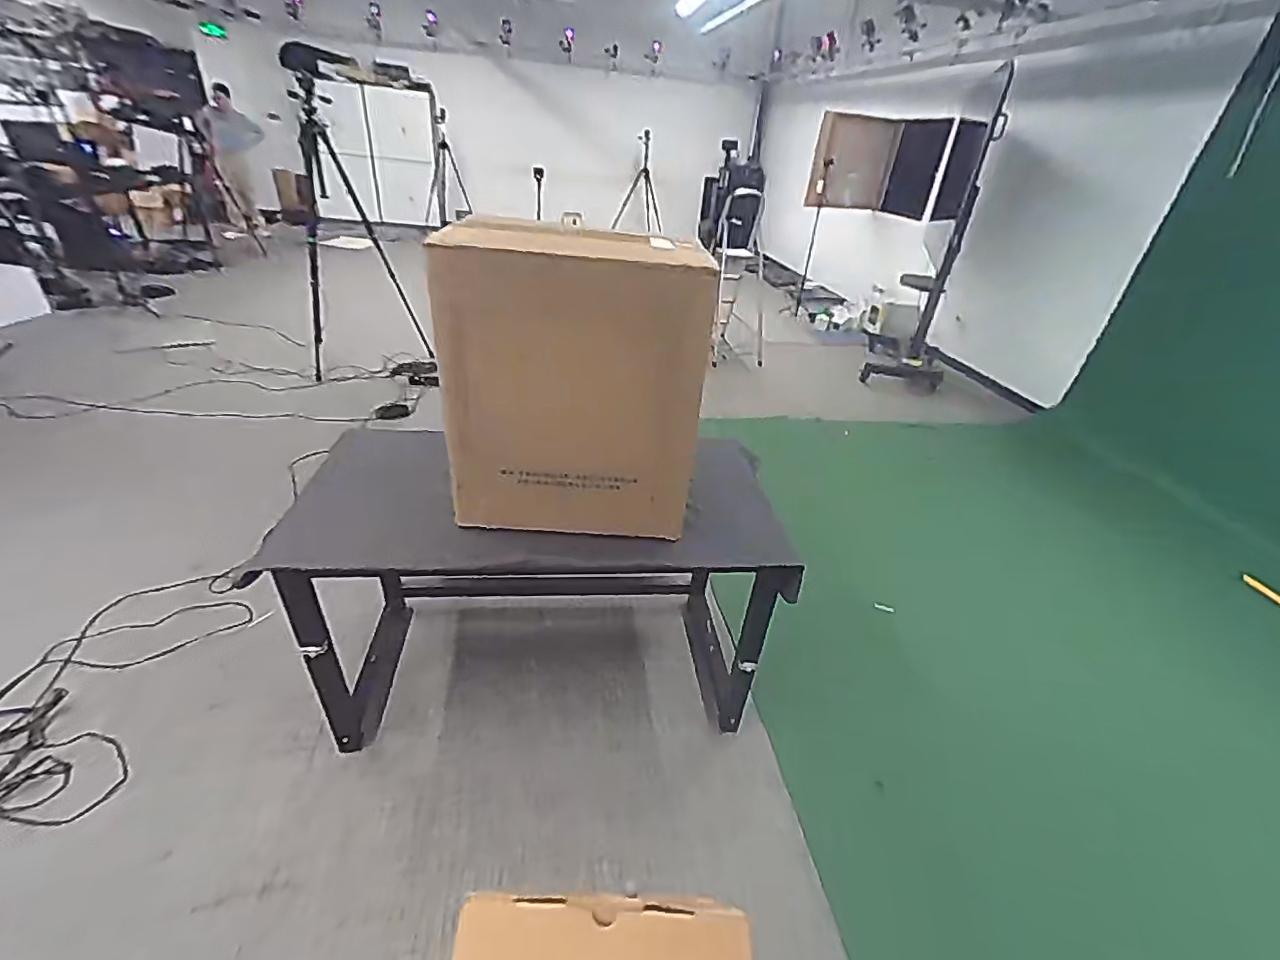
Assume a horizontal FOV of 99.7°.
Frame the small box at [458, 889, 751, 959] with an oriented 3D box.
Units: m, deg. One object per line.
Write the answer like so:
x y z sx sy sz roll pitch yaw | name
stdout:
-0.022 0.362 0.325 0.168 0.176 0.179 2 52 3 | small box
